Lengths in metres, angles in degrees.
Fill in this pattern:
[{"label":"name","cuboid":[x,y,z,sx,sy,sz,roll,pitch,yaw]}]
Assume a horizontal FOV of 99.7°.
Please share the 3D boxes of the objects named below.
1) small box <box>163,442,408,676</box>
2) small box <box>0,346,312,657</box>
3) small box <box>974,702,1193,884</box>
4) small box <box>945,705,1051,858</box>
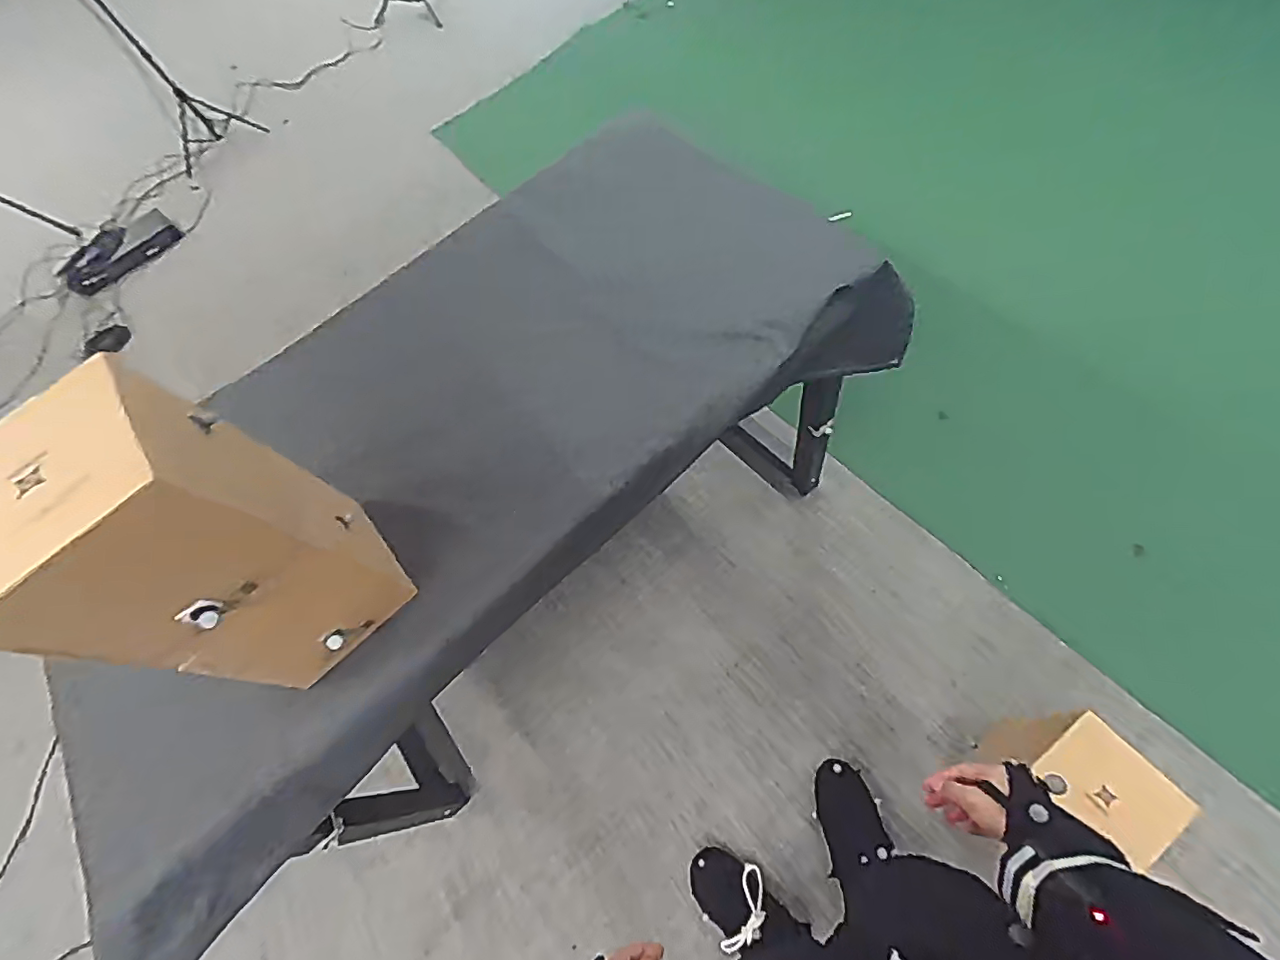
[{"label":"small box","cuboid":[-0.404,0.097,0.606,0.168,0.176,0.179,-43,65,-9]},{"label":"small box","cuboid":[-0.434,0.029,0.462,0.168,0.176,0.179,-43,65,-9]},{"label":"small box","cuboid":[0.668,0.472,0.844,0.179,0.176,0.168,-39,64,-8]},{"label":"small box","cuboid":[0.695,0.541,0.990,0.179,0.176,0.168,-41,64,-7]}]
